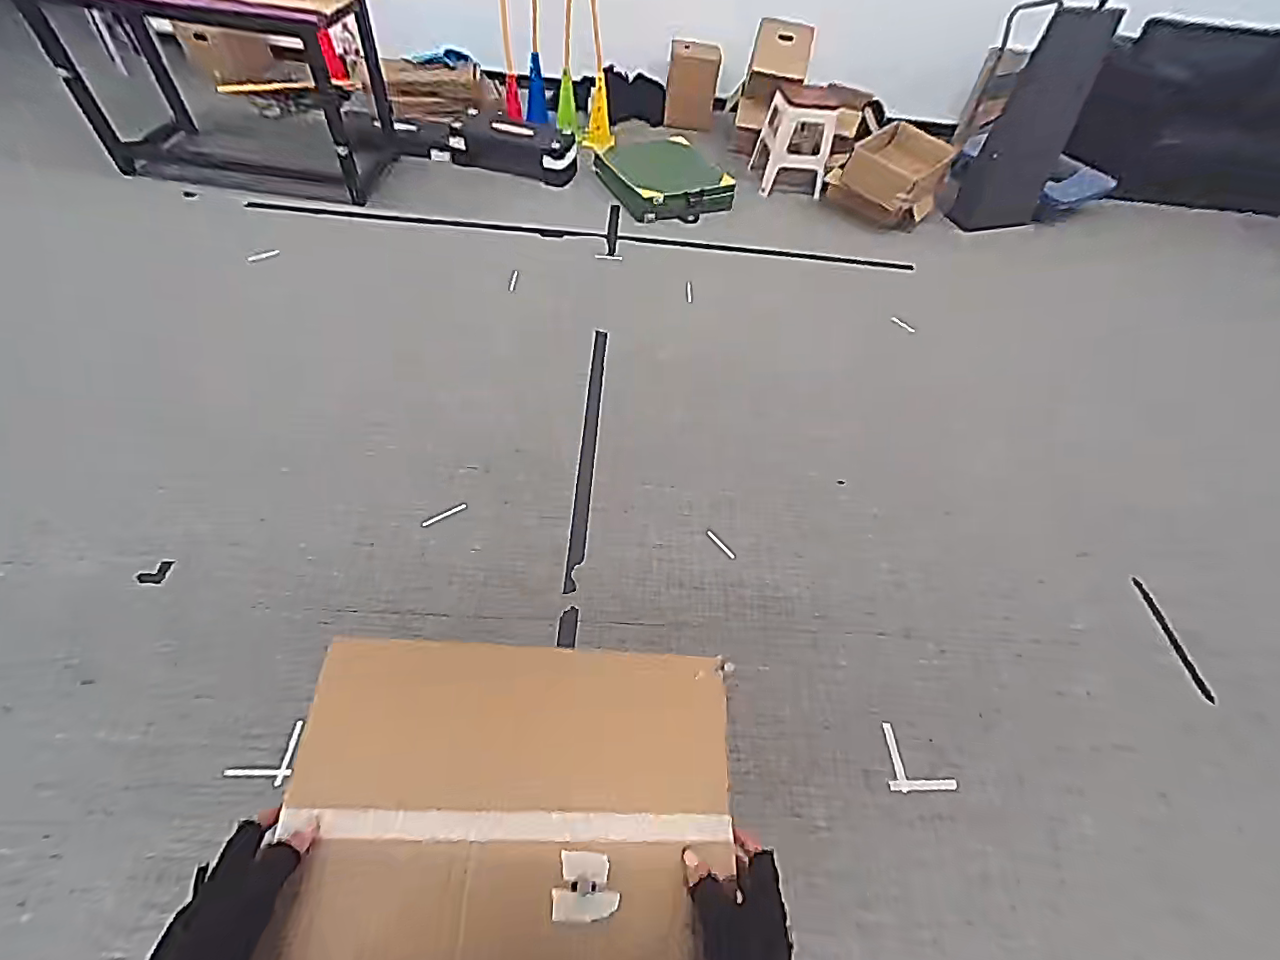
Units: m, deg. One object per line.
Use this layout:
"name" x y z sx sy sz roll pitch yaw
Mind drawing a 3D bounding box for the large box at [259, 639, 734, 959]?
"large box" -0.133 0.383 0.635 0.408 0.320 0.320 6 63 -7
